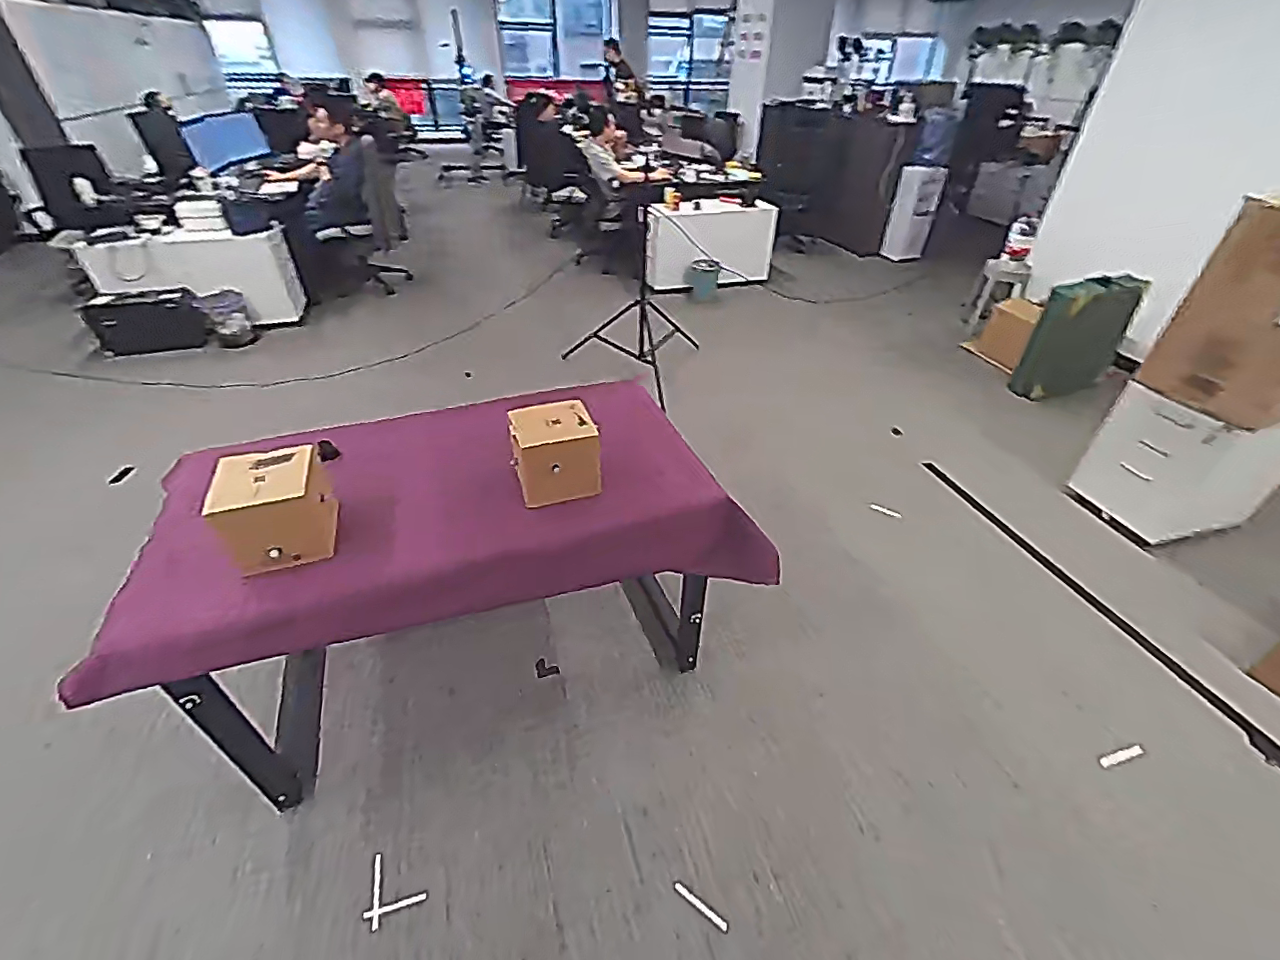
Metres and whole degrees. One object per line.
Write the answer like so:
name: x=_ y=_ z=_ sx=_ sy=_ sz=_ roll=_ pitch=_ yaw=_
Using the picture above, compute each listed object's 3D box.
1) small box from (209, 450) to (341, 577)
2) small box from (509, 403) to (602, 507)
small box: x=-0.719 y=0.065 z=1.090 sx=0.168 sy=0.176 sz=0.179 roll=-12 pitch=40 yaw=-17
small box: x=-0.193 y=-0.057 z=1.259 sx=0.179 sy=0.176 sz=0.168 roll=-13 pitch=40 yaw=-15
